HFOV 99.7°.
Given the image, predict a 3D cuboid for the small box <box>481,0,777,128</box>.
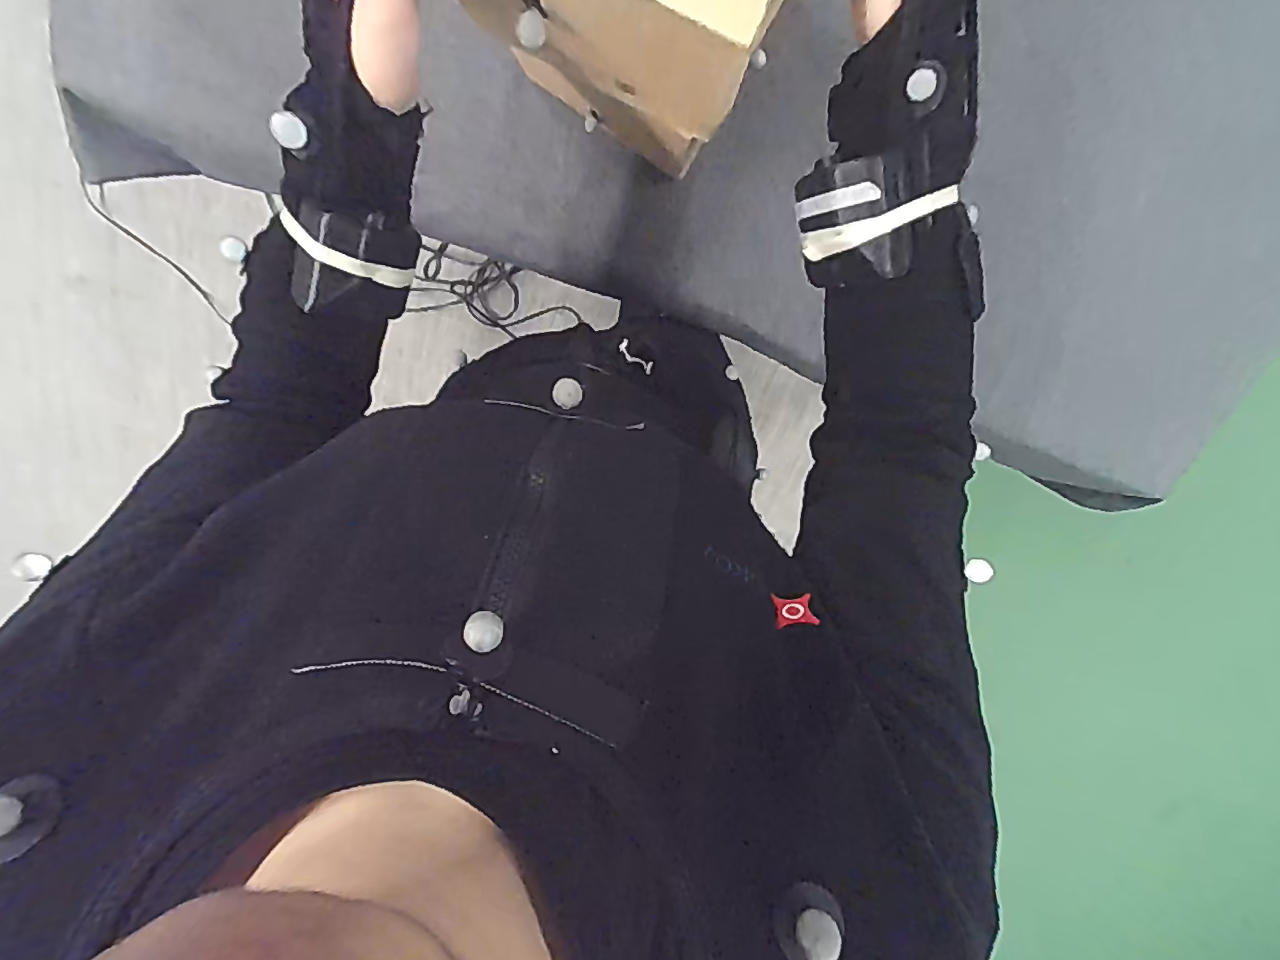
[{"bbox_3d":[0.006,-0.301,0.247,0.168,0.176,0.179,22,109,-7],"label":"small box"}]
